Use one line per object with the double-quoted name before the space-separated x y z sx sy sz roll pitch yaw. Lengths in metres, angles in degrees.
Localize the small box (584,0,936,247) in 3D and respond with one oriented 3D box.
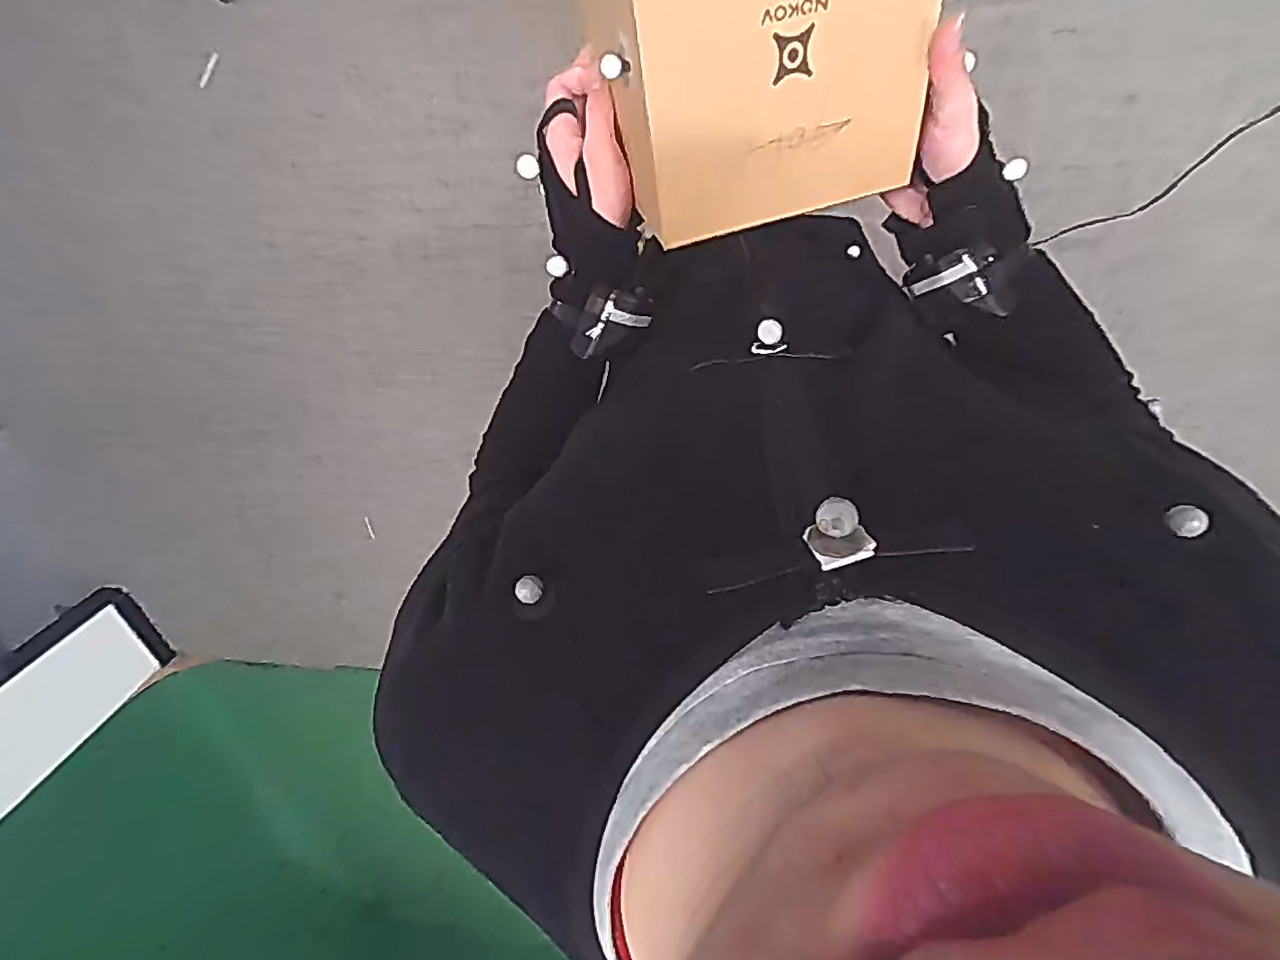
"small box" 0.060 -0.279 0.344 0.168 0.176 0.179 -15 134 -3
